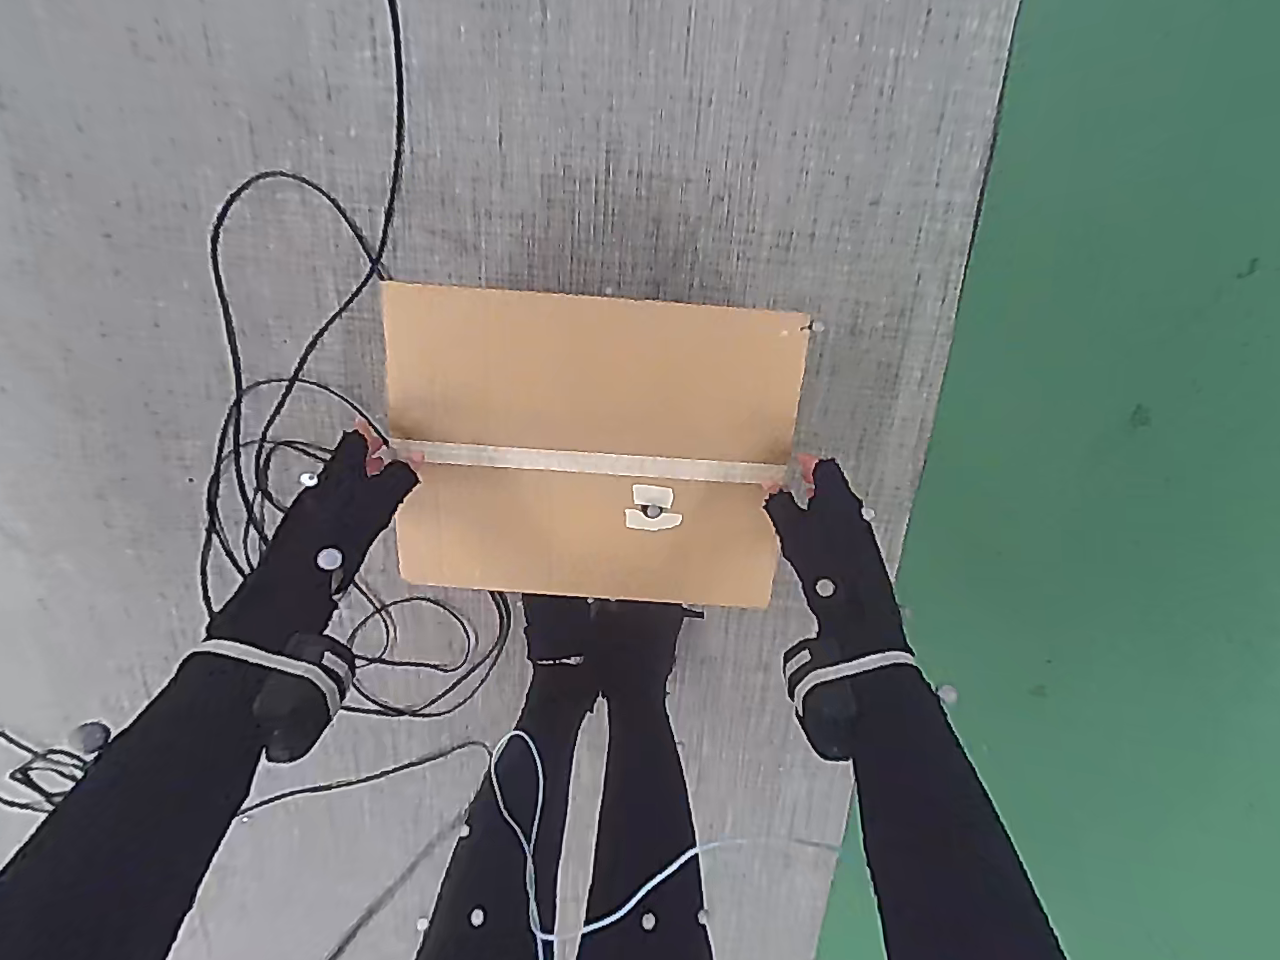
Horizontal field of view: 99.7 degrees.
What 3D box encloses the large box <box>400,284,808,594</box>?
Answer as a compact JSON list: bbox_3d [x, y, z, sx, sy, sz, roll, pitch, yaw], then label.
[{"bbox_3d":[-0.044,-0.069,0.704,0.408,0.320,0.320,4,107,-1],"label":"large box"}]
